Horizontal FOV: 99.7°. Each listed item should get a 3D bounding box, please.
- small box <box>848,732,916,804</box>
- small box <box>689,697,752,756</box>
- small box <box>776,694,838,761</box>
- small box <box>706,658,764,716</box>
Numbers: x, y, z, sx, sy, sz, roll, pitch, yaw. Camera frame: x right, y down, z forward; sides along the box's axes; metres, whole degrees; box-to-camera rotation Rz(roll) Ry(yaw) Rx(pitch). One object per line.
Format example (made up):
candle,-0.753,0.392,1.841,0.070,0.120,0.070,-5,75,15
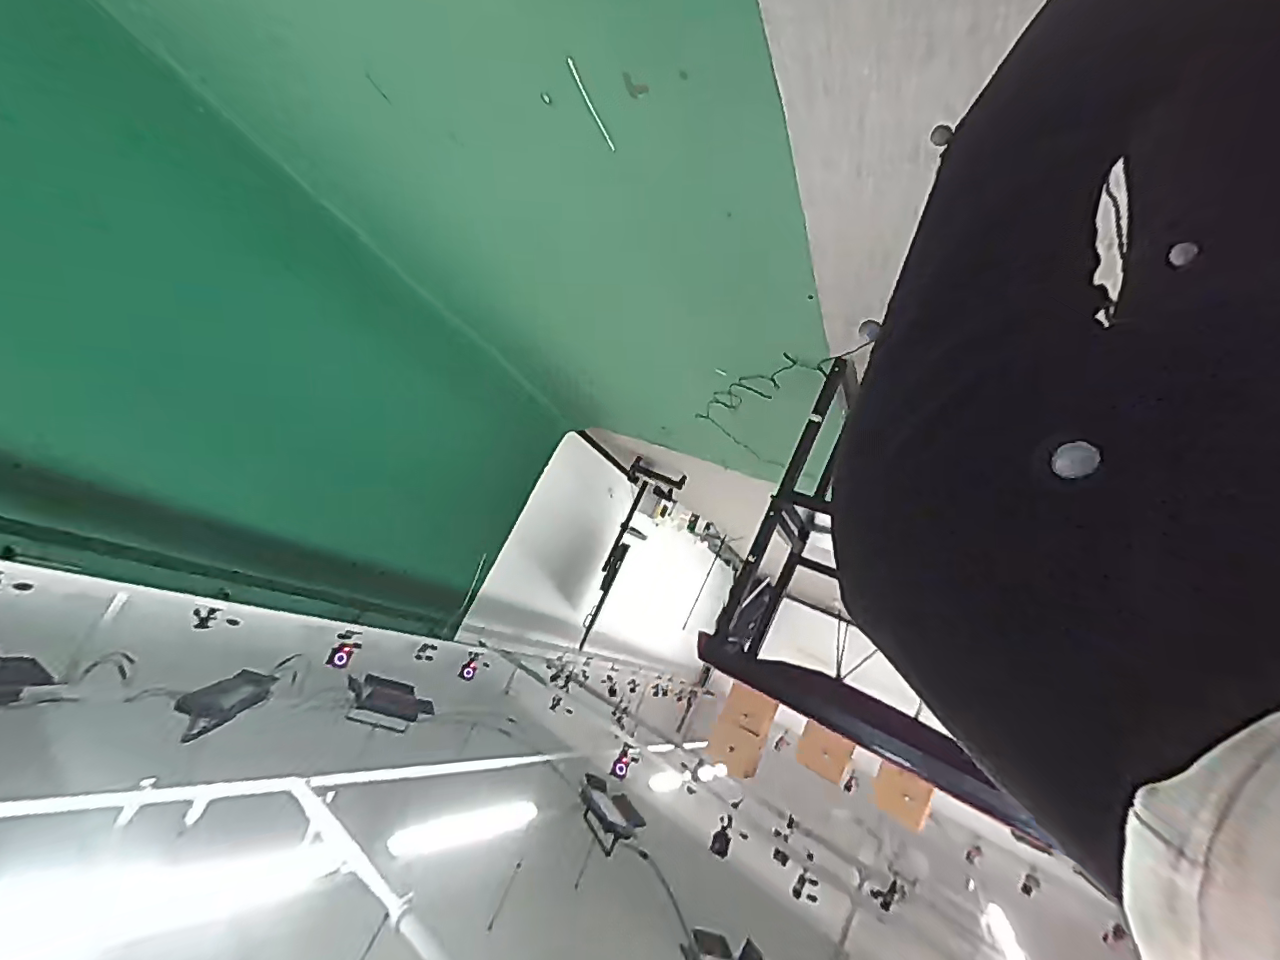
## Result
small box,0.862,1.013,1.917,0.168,0.176,0.179,19,170,36
small box,0.331,0.993,2.197,0.179,0.176,0.168,17,168,33
small box,0.641,0.933,2.054,0.179,0.176,0.168,20,169,29
small box,0.398,0.847,2.225,0.179,0.176,0.168,20,170,27
